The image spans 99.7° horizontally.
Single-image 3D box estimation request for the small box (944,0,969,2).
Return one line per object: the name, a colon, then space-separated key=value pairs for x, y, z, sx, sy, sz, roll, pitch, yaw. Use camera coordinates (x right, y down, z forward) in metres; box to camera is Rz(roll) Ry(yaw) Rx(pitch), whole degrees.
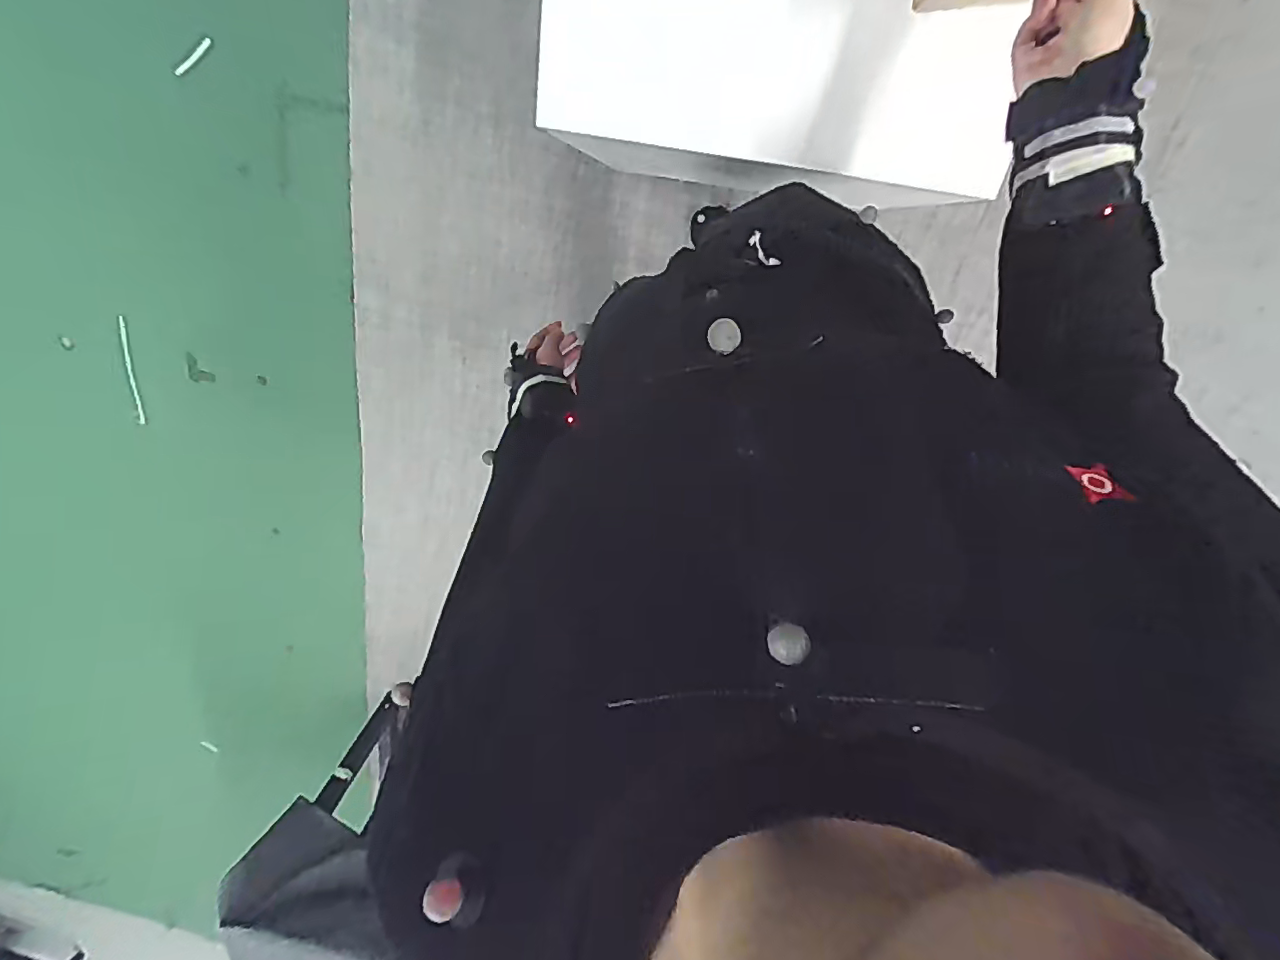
small box: x=0.319 y=-0.473 z=0.382 sx=0.168 sy=0.176 sz=0.179 roll=2 pitch=117 yaw=9
